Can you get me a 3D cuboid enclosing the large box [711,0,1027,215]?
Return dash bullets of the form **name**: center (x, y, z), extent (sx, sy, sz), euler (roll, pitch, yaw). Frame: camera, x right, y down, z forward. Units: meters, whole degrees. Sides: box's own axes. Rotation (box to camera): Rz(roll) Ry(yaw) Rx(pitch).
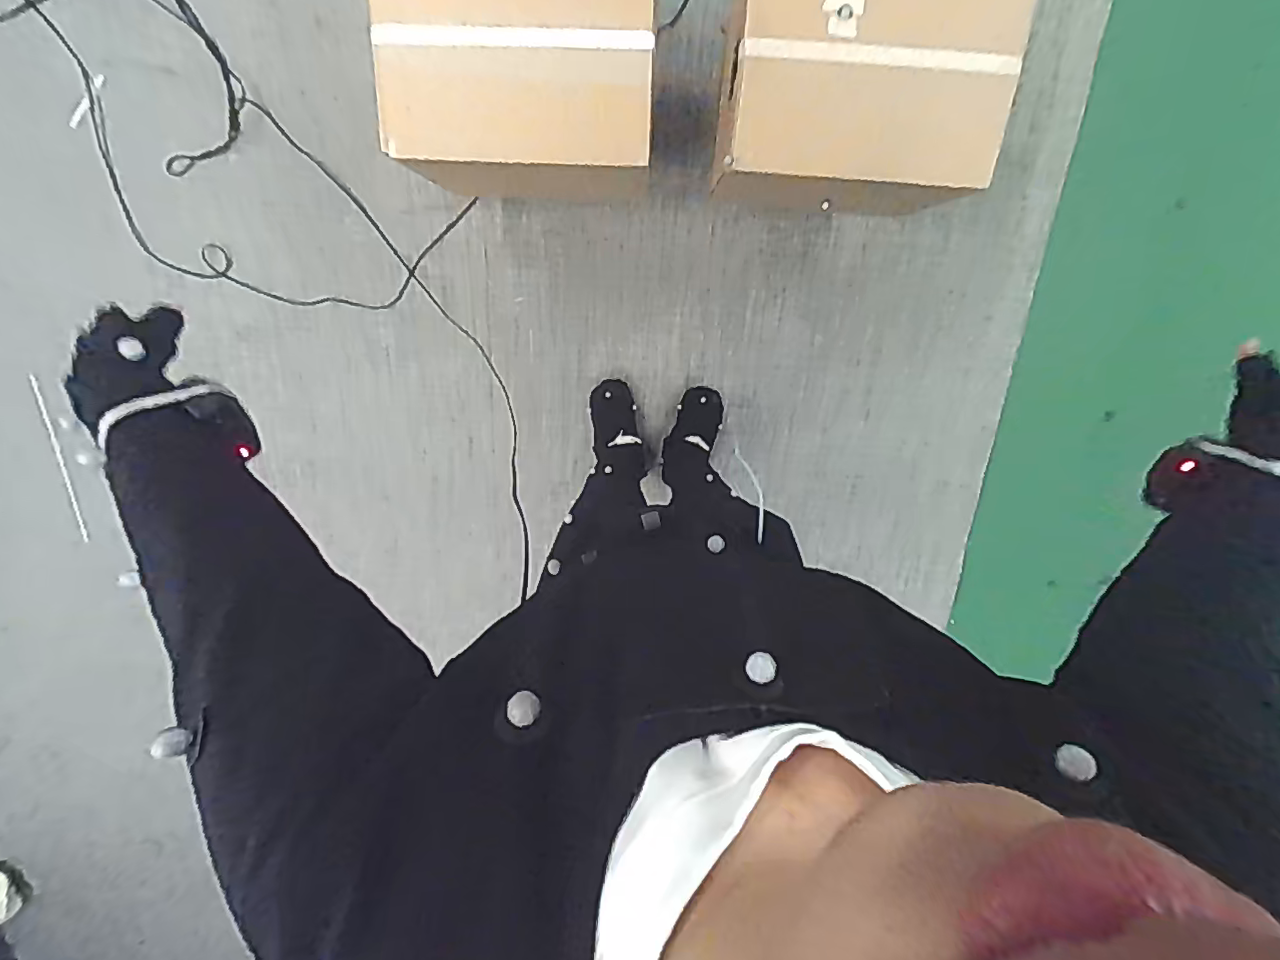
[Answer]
- **large box**: center (0.353, -0.658, 0.941), extent (0.408, 0.320, 0.320), euler (4, 108, 0)
